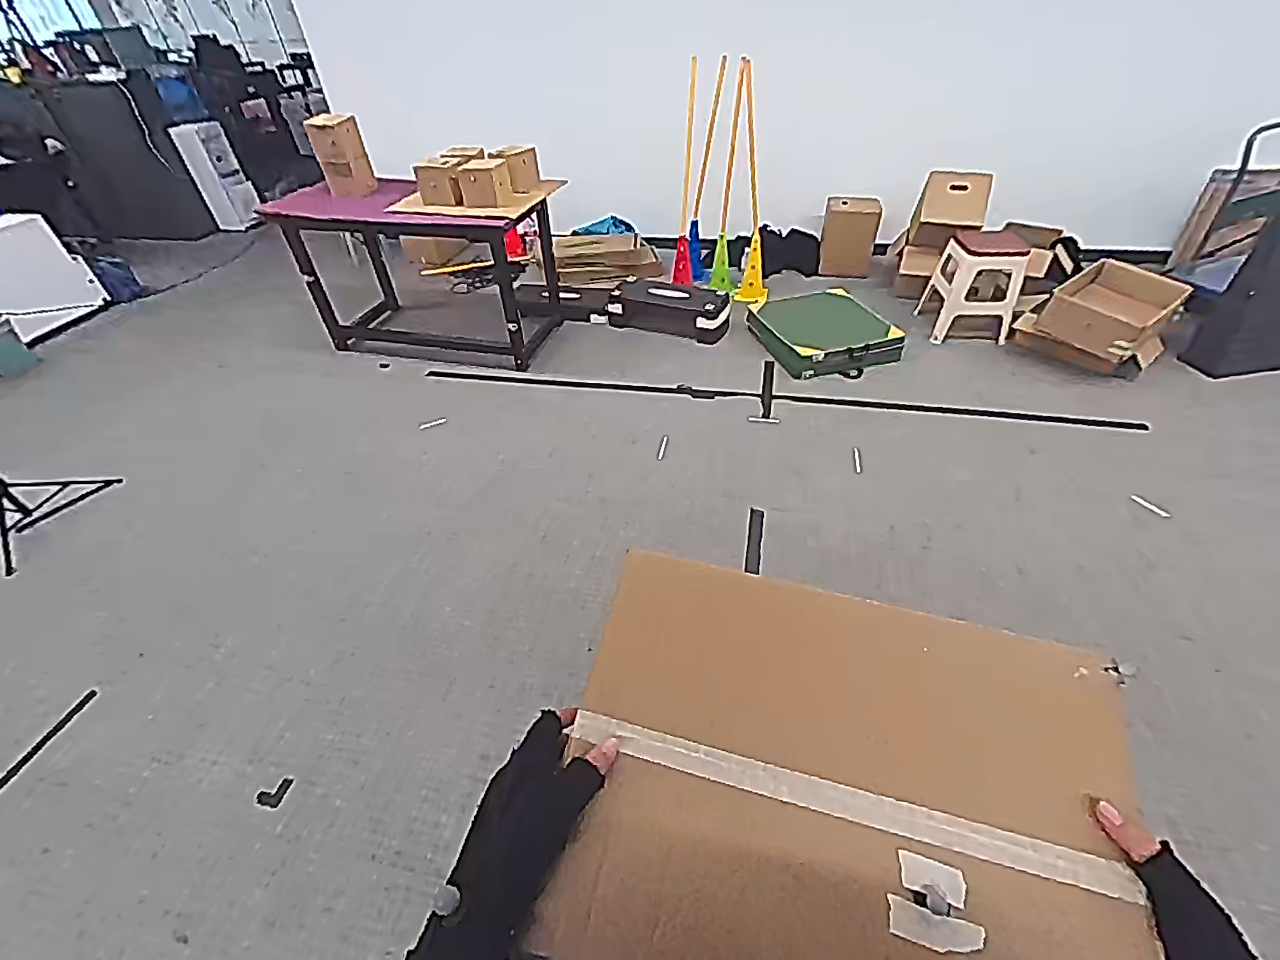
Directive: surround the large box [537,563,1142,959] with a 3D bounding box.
[{"bbox_3d":[0.162,0.316,0.545,0.408,0.320,0.320,11,63,11],"label":"large box"}]
